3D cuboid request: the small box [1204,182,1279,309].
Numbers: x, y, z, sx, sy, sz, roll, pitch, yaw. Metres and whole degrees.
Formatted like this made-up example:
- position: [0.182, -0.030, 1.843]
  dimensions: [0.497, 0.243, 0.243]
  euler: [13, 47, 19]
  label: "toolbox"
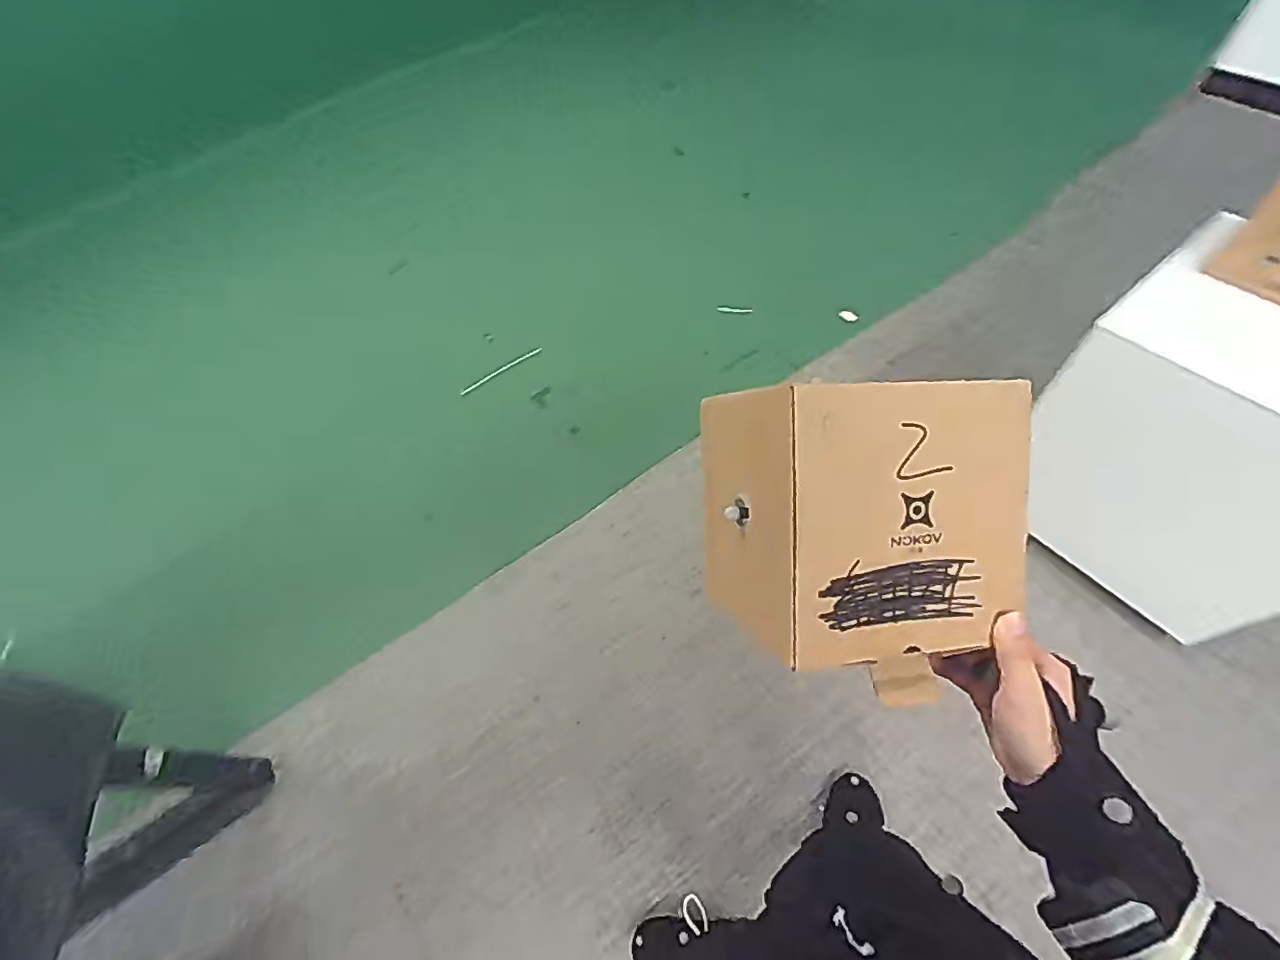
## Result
- position: [1.047, -0.391, 0.829]
  dimensions: [0.179, 0.176, 0.168]
  euler: [-39, 62, -12]
  label: "small box"
